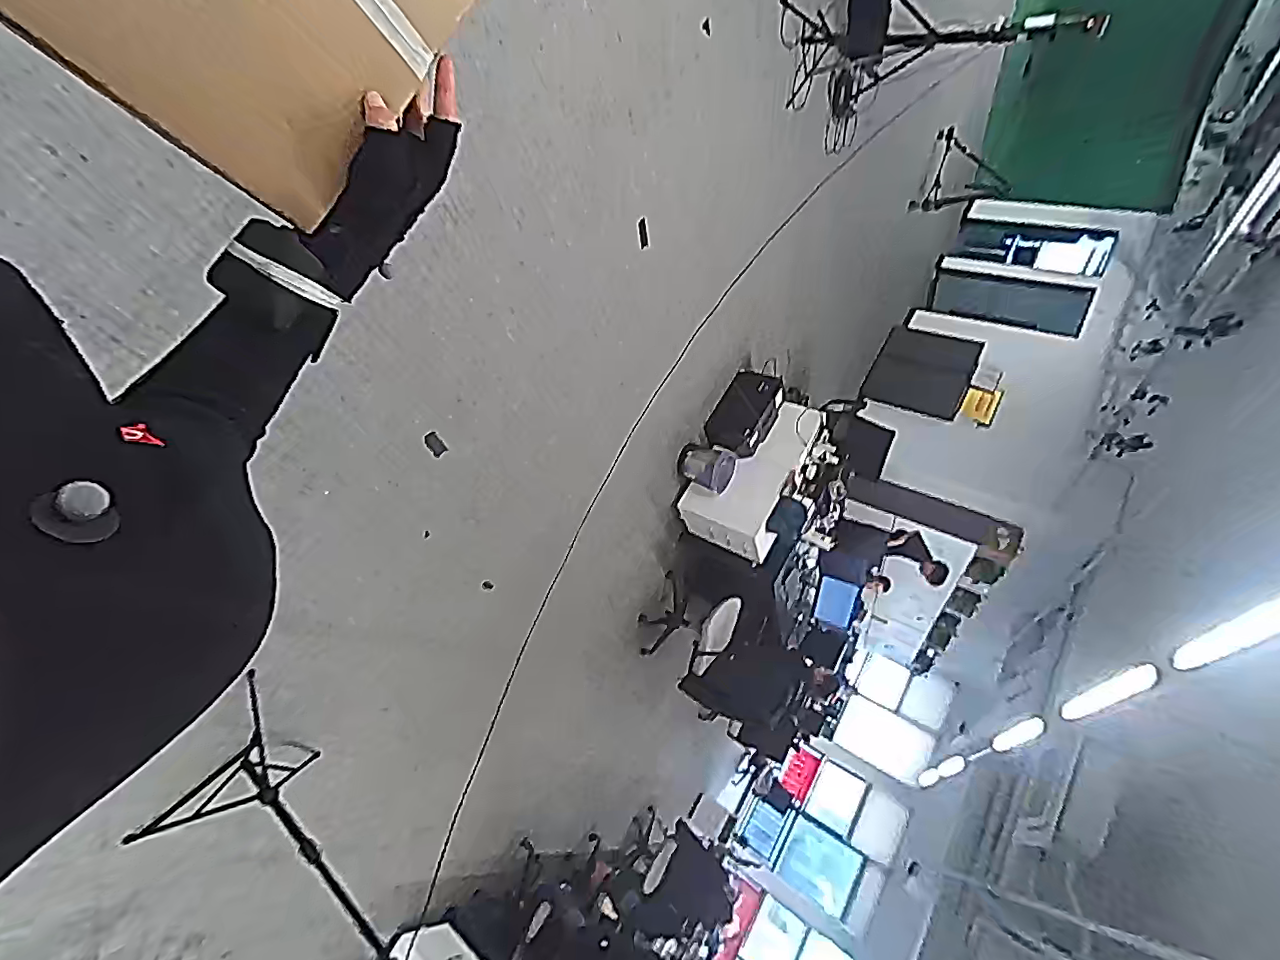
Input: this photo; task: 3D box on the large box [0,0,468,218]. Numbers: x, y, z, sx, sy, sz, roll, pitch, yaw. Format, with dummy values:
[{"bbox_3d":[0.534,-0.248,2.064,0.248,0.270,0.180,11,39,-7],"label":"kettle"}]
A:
[{"bbox_3d":[-0.362,-0.455,0.329,0.320,0.320,0.408,-54,150,0],"label":"large box"}]
